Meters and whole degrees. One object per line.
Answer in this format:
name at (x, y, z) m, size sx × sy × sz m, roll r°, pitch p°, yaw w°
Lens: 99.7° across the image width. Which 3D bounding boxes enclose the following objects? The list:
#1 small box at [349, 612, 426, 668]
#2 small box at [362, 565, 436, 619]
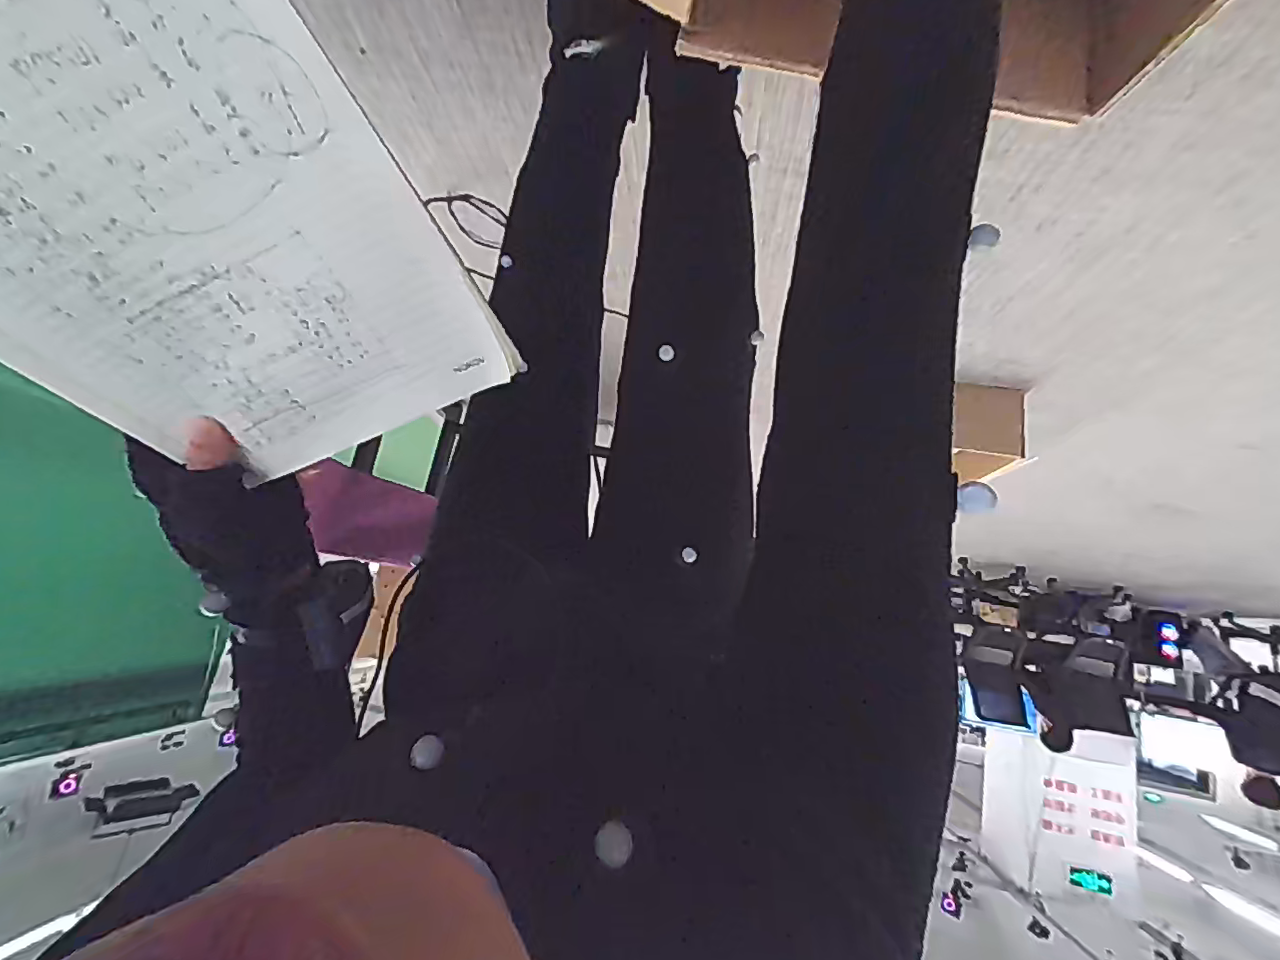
small box at (-0.900, 0.568, 1.941) m, size 0.168 × 0.176 × 0.179 m, roll 10°, pitch 166°, yaw 6°
small box at (-0.877, 0.410, 1.980) m, size 0.168 × 0.176 × 0.179 m, roll 10°, pitch 167°, yaw 5°
